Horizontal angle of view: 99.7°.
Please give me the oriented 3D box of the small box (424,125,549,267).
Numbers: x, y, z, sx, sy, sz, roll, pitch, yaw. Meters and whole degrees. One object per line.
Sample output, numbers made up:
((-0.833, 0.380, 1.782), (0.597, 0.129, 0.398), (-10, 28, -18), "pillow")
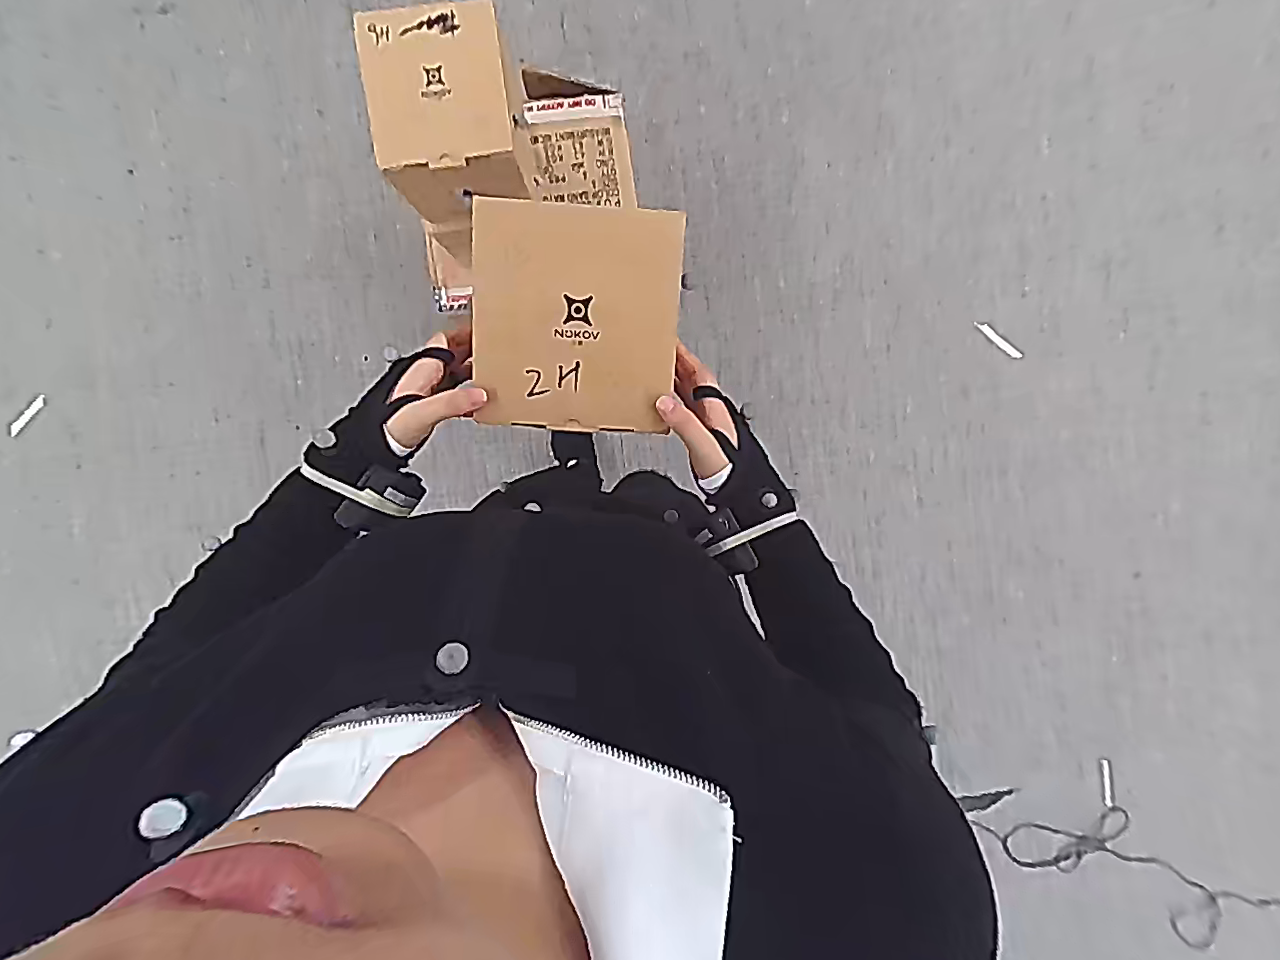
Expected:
((-0.250, -0.465, 0.873), (0.168, 0.176, 0.179), (-9, 97, -1), "small box")

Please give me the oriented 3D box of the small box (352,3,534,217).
((-0.242, -0.463, 0.709), (0.168, 0.176, 0.179), (-7, 97, -1), "small box")
